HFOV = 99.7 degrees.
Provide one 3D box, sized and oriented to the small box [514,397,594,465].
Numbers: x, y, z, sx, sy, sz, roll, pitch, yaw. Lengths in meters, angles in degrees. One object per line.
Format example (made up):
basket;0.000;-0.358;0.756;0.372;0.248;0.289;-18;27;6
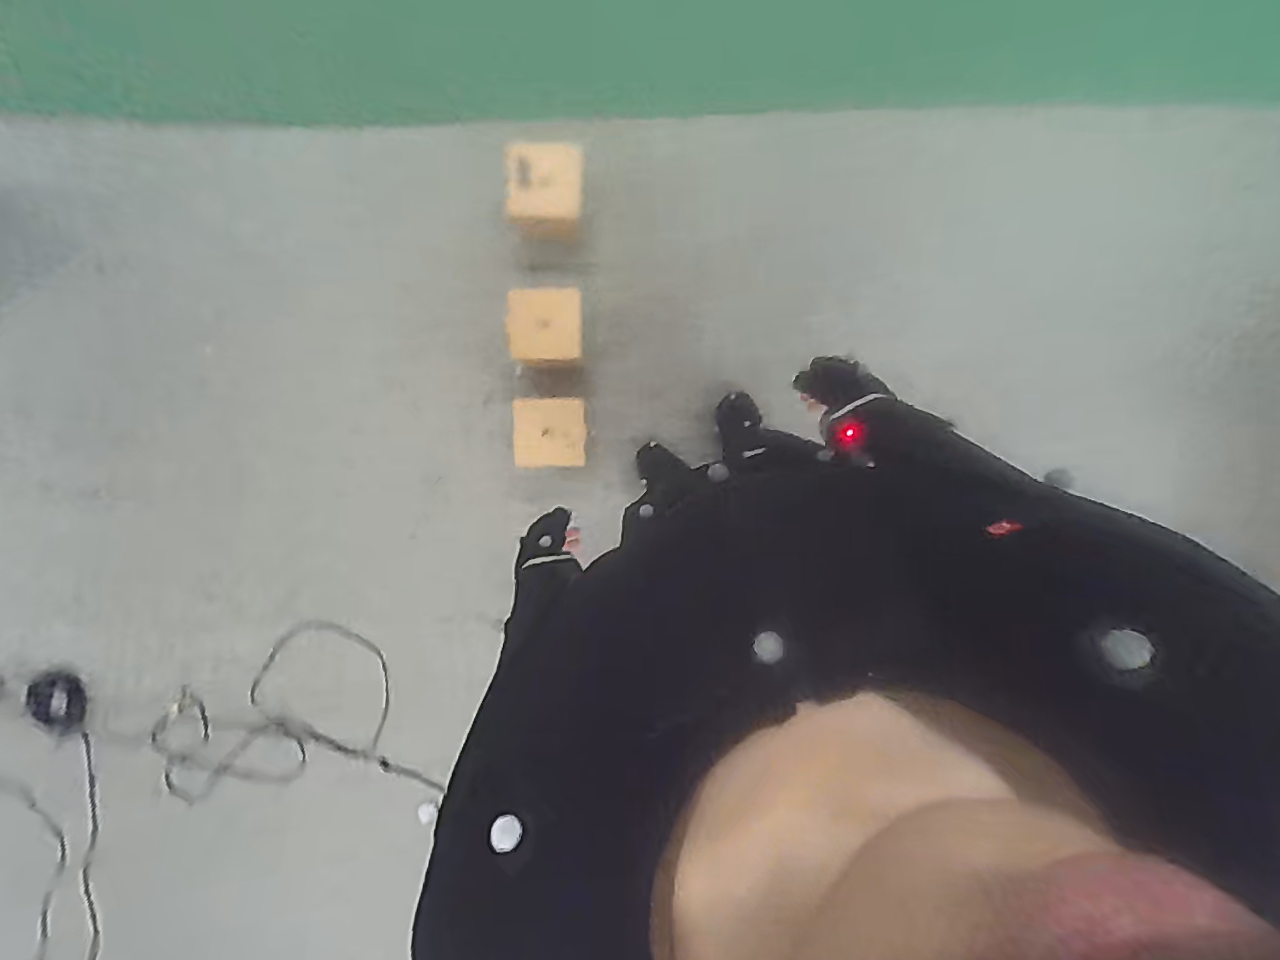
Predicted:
small box;-0.215;-0.125;1.381;0.179;0.176;0.168;-1;96;1

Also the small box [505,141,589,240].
small box;-0.223;-0.705;1.332;0.179;0.176;0.168;2;95;0

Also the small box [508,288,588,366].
small box;-0.224;-0.380;1.362;0.179;0.176;0.168;-2;95;2
